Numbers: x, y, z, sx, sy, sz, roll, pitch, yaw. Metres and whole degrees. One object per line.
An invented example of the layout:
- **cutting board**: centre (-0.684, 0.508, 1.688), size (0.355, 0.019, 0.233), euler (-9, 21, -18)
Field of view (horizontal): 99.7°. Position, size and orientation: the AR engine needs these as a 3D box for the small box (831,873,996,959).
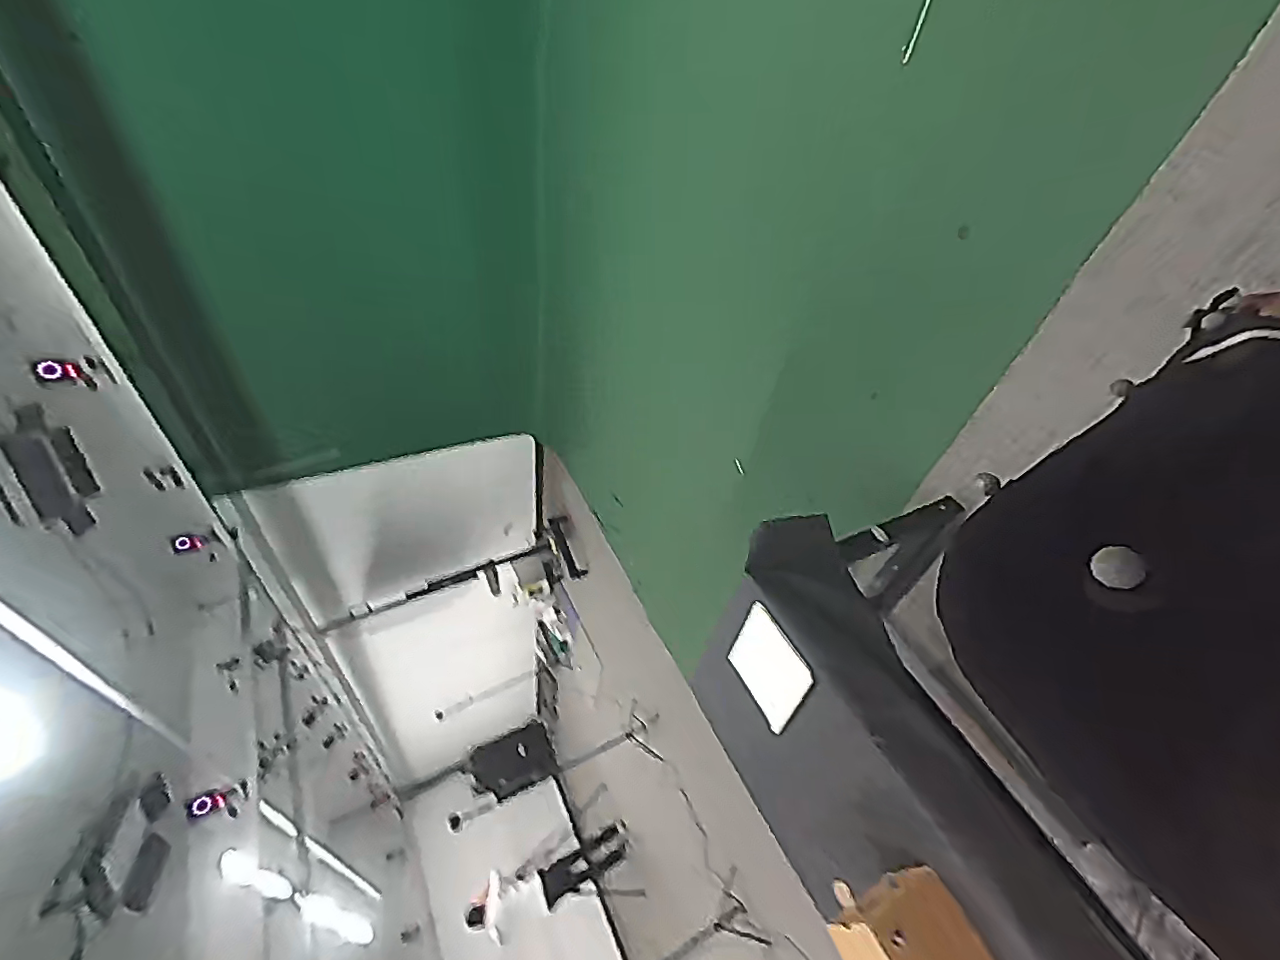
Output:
- **small box**: centre (0.468, 0.804, 0.908), size (0.179, 0.176, 0.168), euler (59, 152, 33)
